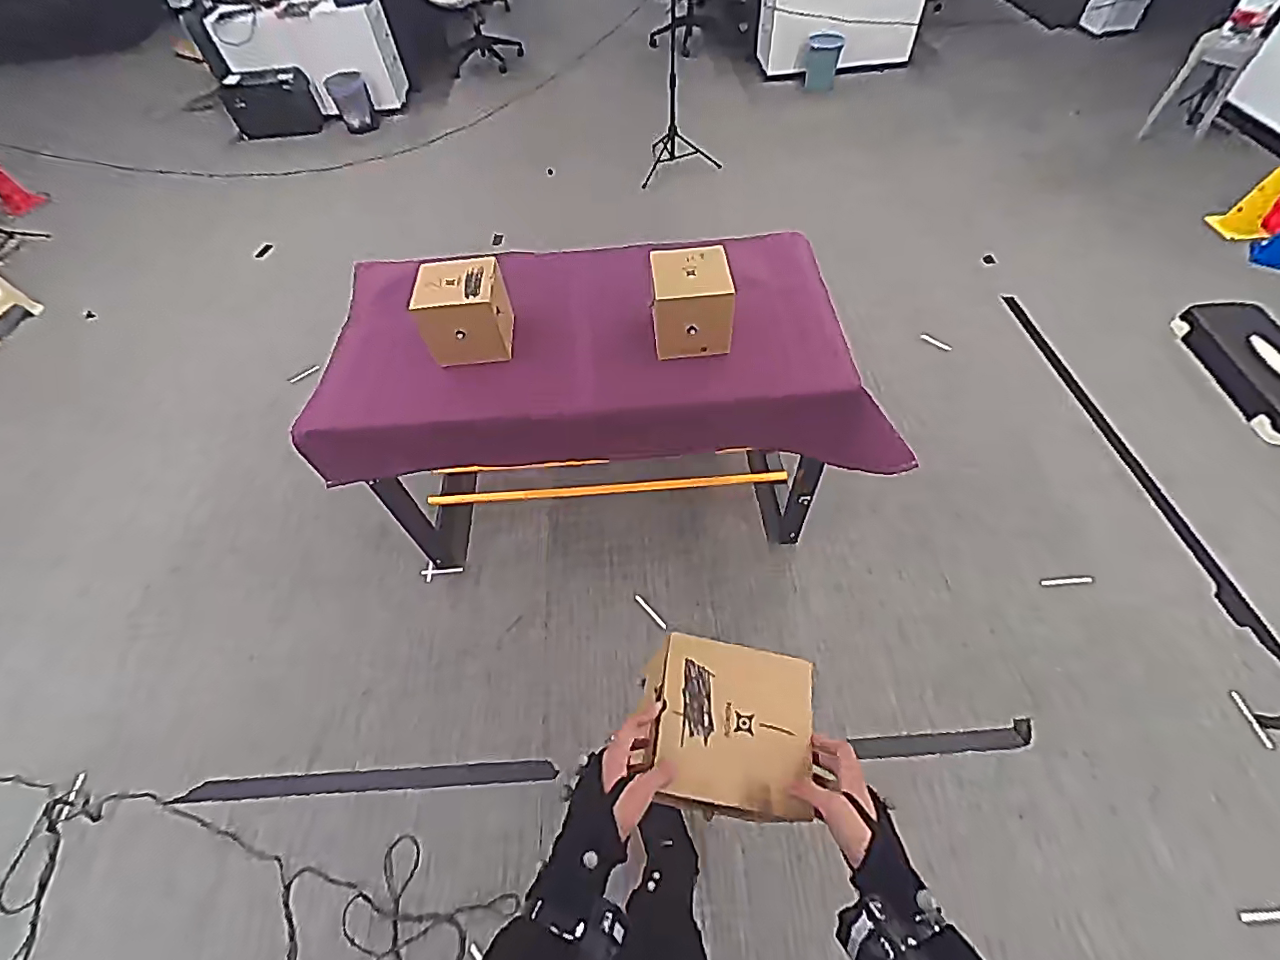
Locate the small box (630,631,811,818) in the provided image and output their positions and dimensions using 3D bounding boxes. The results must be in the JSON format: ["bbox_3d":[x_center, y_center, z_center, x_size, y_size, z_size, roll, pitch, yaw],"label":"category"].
[{"bbox_3d":[0.092,0.305,0.662,0.179,0.176,0.168,13,57,-3],"label":"small box"}]

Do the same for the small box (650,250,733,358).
[{"bbox_3d":[0.114,-0.392,1.226,0.168,0.176,0.179,-4,55,0],"label":"small box"}]
